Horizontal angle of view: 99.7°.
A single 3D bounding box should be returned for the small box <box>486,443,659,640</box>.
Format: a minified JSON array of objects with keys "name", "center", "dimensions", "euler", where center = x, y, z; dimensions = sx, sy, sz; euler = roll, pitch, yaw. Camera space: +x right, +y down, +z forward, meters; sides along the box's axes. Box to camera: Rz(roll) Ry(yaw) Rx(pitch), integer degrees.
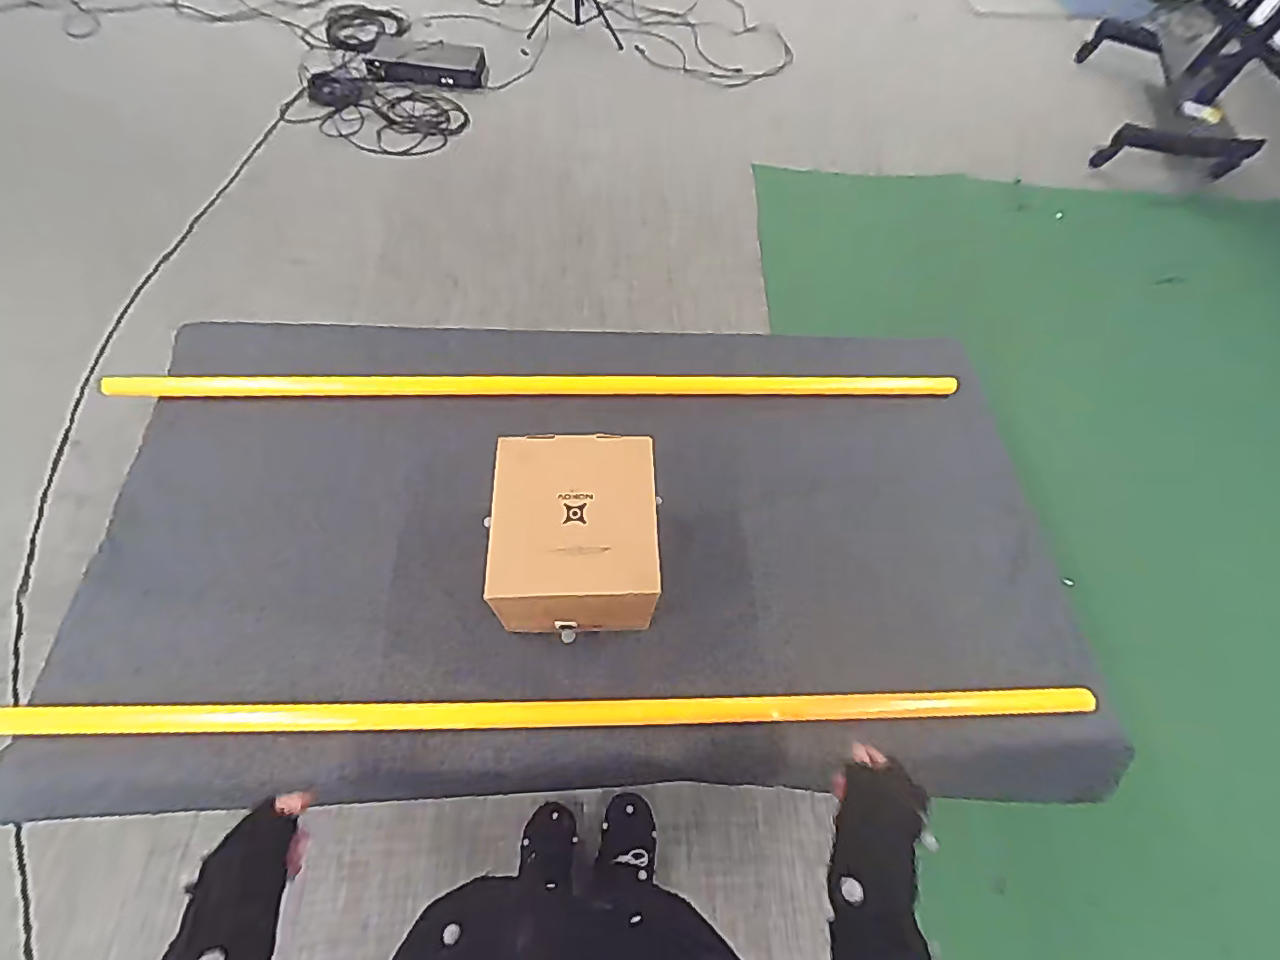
[{"name":"small box","center":[-0.071,0.075,0.616],"dimensions":[0.168,0.176,0.179],"euler":[-2,63,-4]}]
